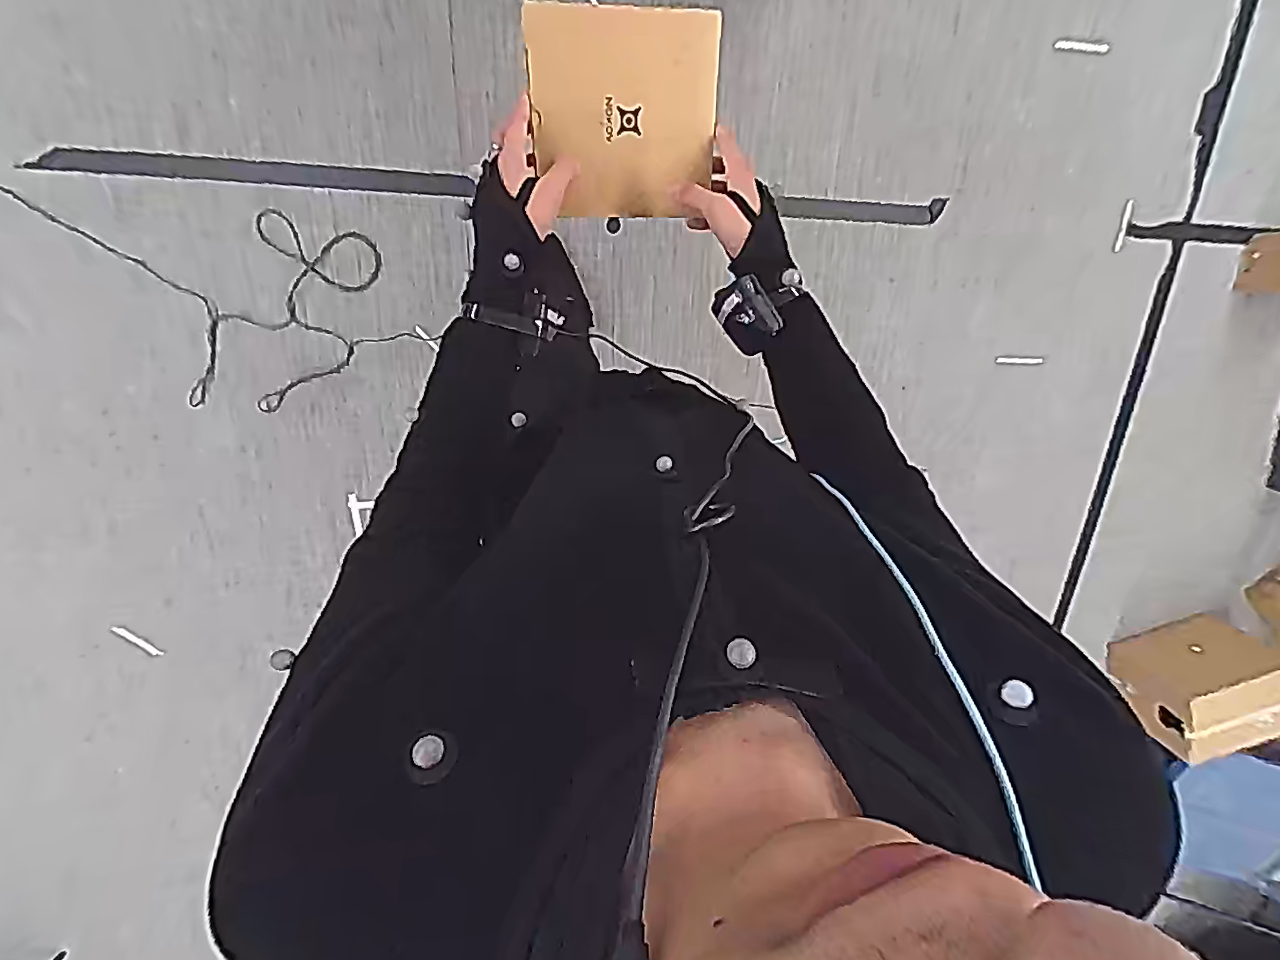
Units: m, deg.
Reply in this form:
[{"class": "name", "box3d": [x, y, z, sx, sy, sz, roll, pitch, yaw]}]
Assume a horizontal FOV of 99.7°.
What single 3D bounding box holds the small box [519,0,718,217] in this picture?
[{"class": "small box", "box3d": [-0.028, -0.377, 0.571, 0.179, 0.176, 0.168, -3, 120, -6]}]
